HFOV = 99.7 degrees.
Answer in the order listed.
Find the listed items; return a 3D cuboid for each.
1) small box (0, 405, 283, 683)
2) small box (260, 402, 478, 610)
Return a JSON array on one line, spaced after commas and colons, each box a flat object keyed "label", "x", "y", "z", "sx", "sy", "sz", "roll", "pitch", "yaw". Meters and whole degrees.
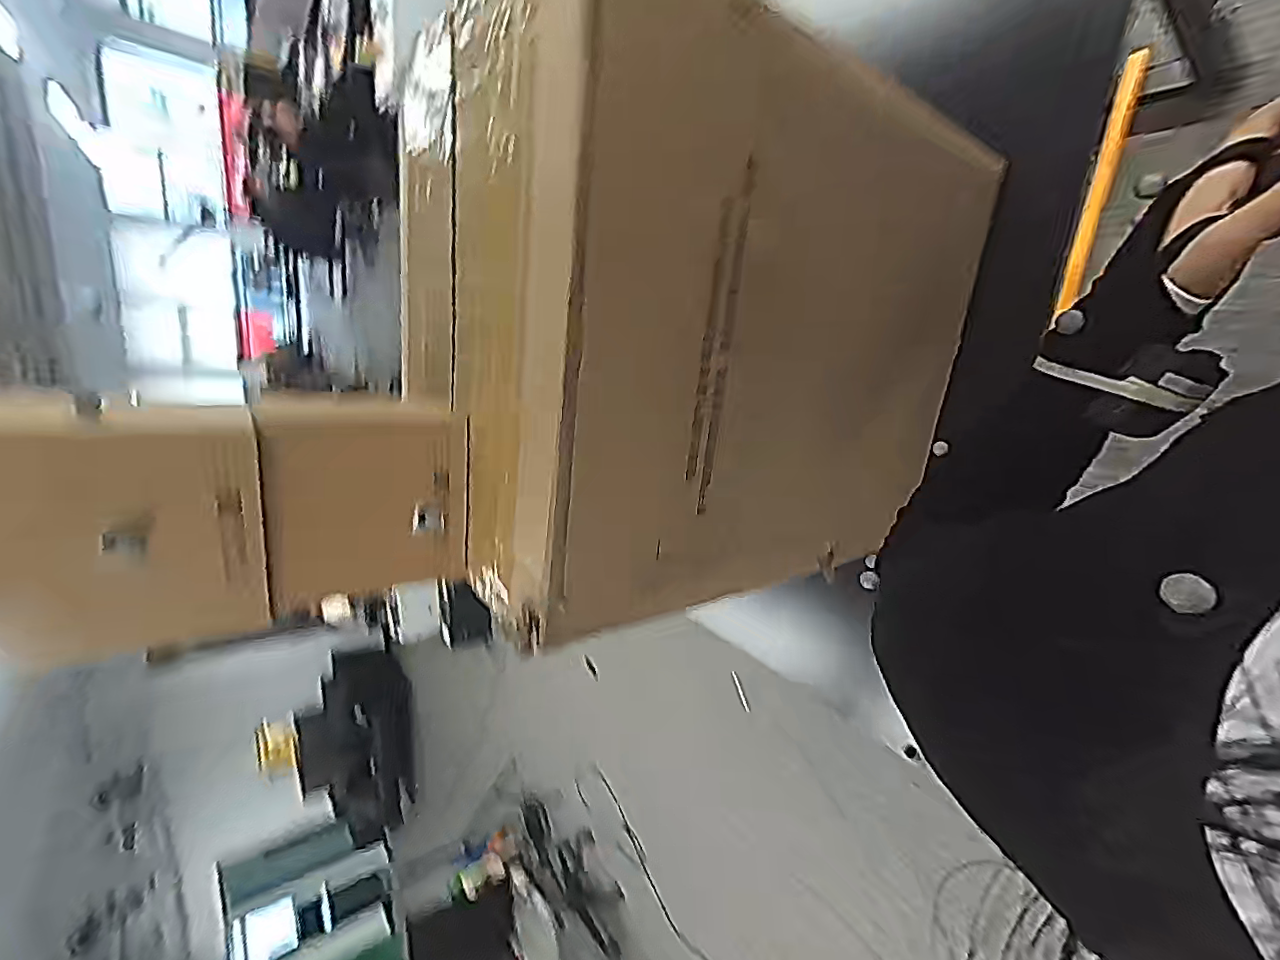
[{"label": "small box", "x": -0.400, "y": 0.029, "z": 0.443, "sx": 0.179, "sy": 0.176, "sz": 0.168, "roll": 20, "pitch": 110, "yaw": 51}, {"label": "small box", "x": -0.277, "y": 0.011, "z": 0.551, "sx": 0.179, "sy": 0.176, "sz": 0.168, "roll": 17, "pitch": 109, "yaw": 51}]
